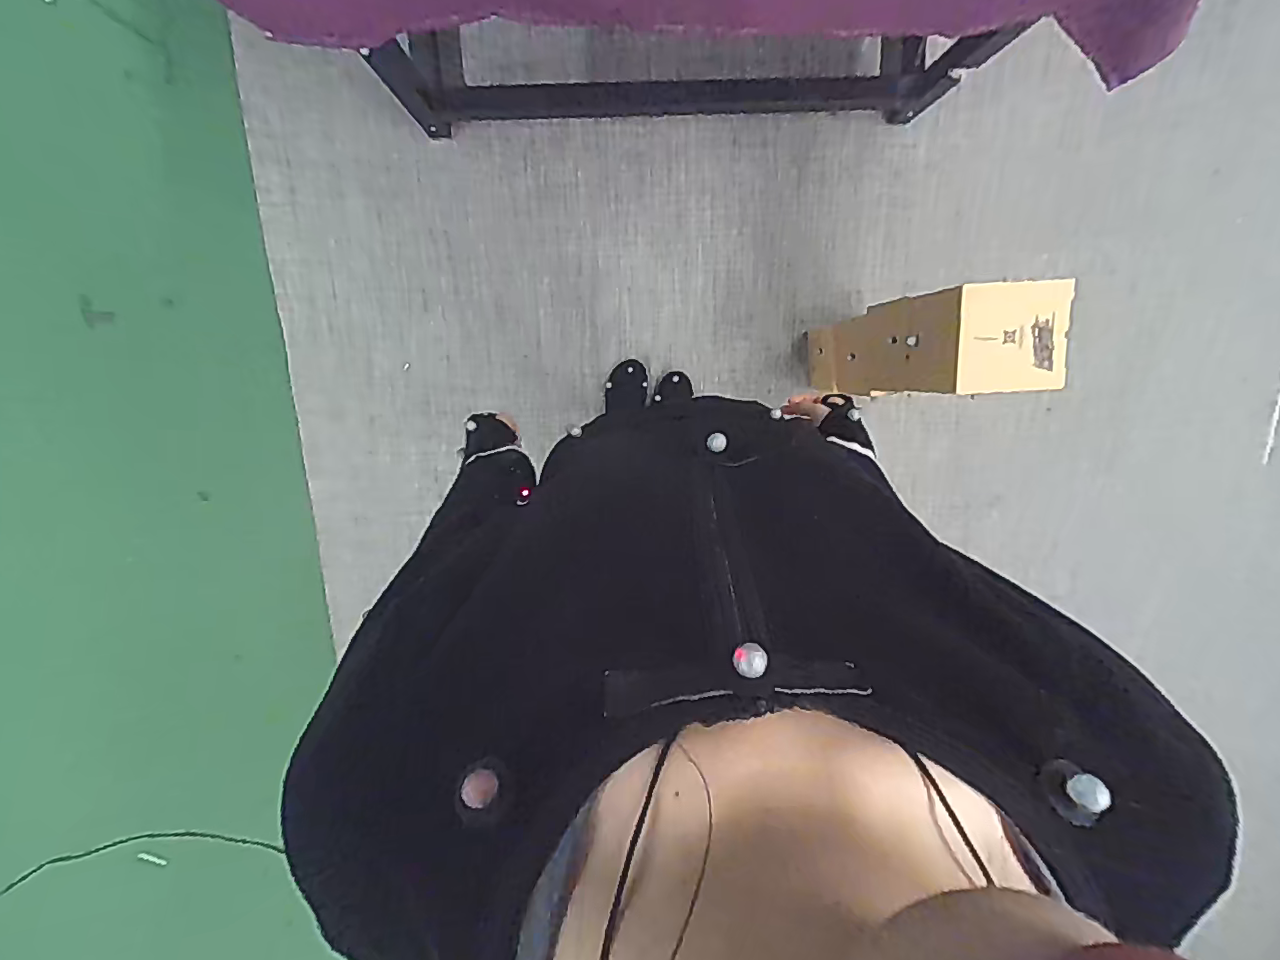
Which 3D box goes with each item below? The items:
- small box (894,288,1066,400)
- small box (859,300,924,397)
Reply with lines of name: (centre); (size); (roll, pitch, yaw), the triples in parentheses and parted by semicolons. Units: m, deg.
small box: (0.557, -0.224, 0.906); (0.179, 0.176, 0.168); (-3, 101, -1)
small box: (0.550, -0.254, 1.068); (0.168, 0.176, 0.179); (-1, 101, -2)
